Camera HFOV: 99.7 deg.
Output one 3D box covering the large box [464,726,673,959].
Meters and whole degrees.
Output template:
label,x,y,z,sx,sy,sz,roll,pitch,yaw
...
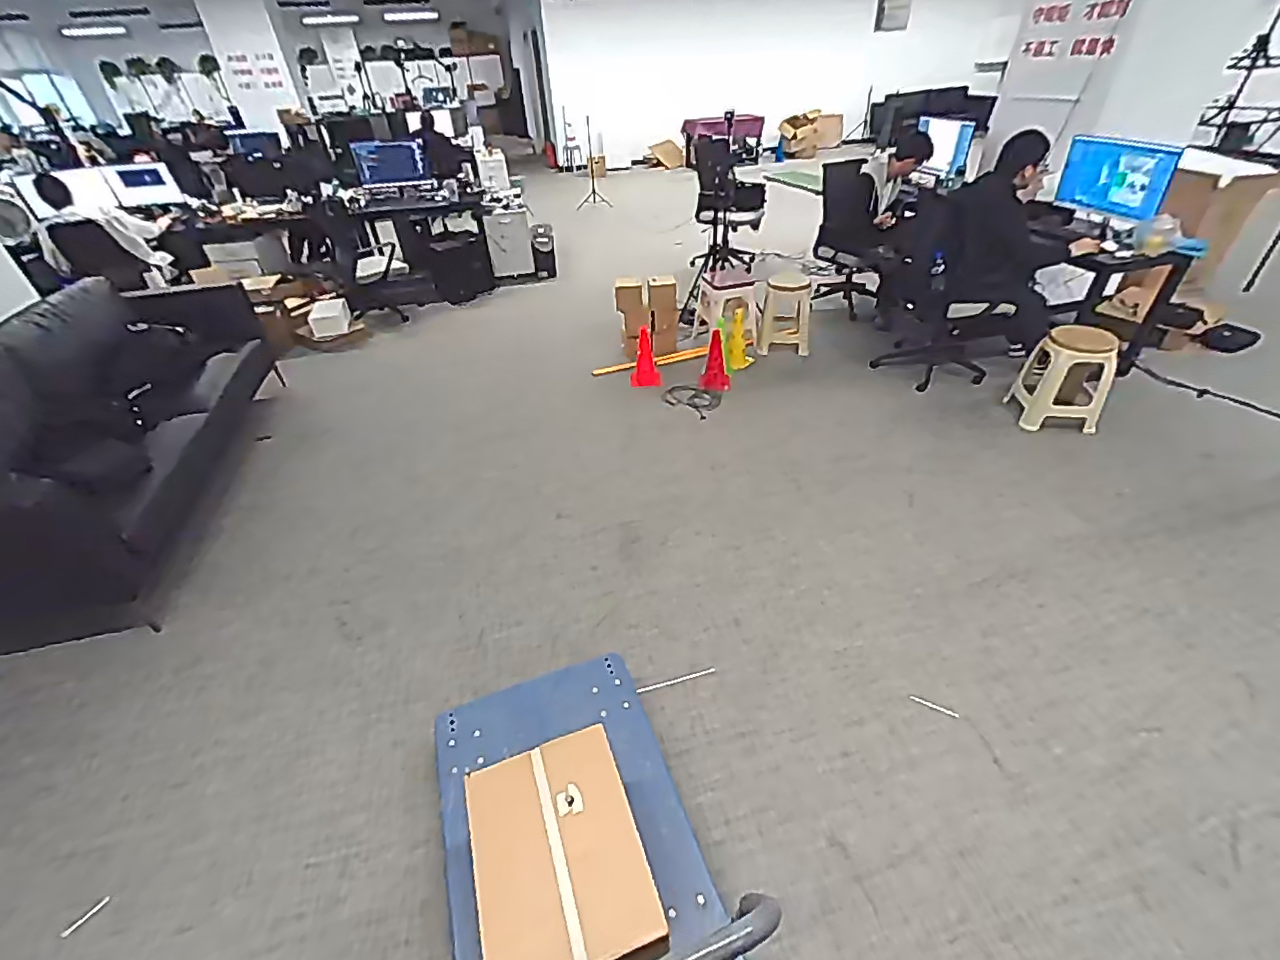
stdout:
label,x,y,z,sx,sy,sz,roll,pitch,yaw
large box,-0.152,0.823,1.131,0.320,0.320,0.408,-15,38,-15
